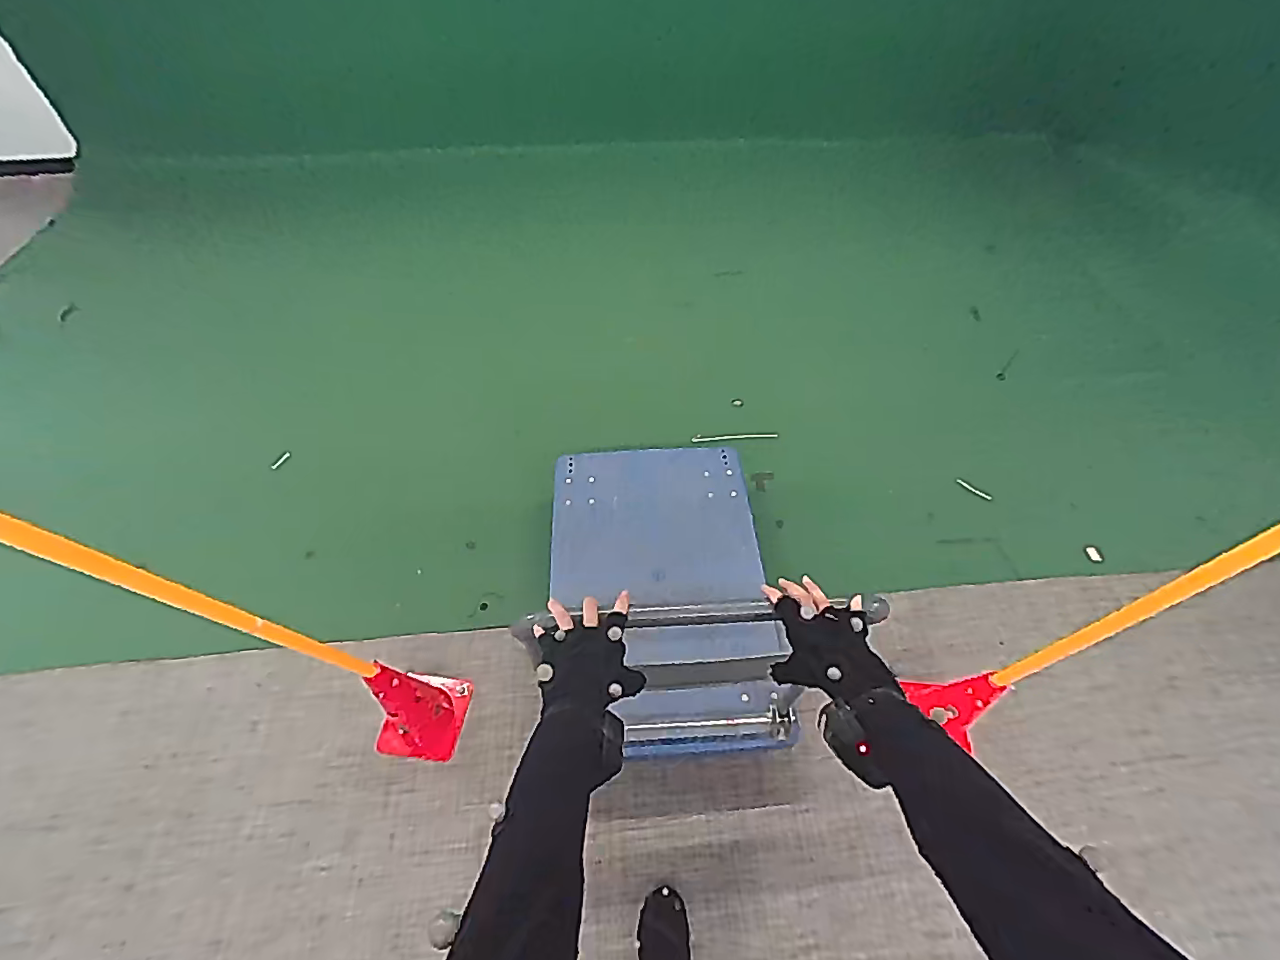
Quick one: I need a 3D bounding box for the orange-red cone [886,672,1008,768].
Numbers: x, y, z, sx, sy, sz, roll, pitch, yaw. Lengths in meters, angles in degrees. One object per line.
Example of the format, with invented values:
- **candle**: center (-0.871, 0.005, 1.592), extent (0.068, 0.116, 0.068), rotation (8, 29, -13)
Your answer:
- **orange-red cone**: center (0.739, 0.519, 1.249), extent (0.198, 0.360, 0.199), rotation (5, 54, 4)
